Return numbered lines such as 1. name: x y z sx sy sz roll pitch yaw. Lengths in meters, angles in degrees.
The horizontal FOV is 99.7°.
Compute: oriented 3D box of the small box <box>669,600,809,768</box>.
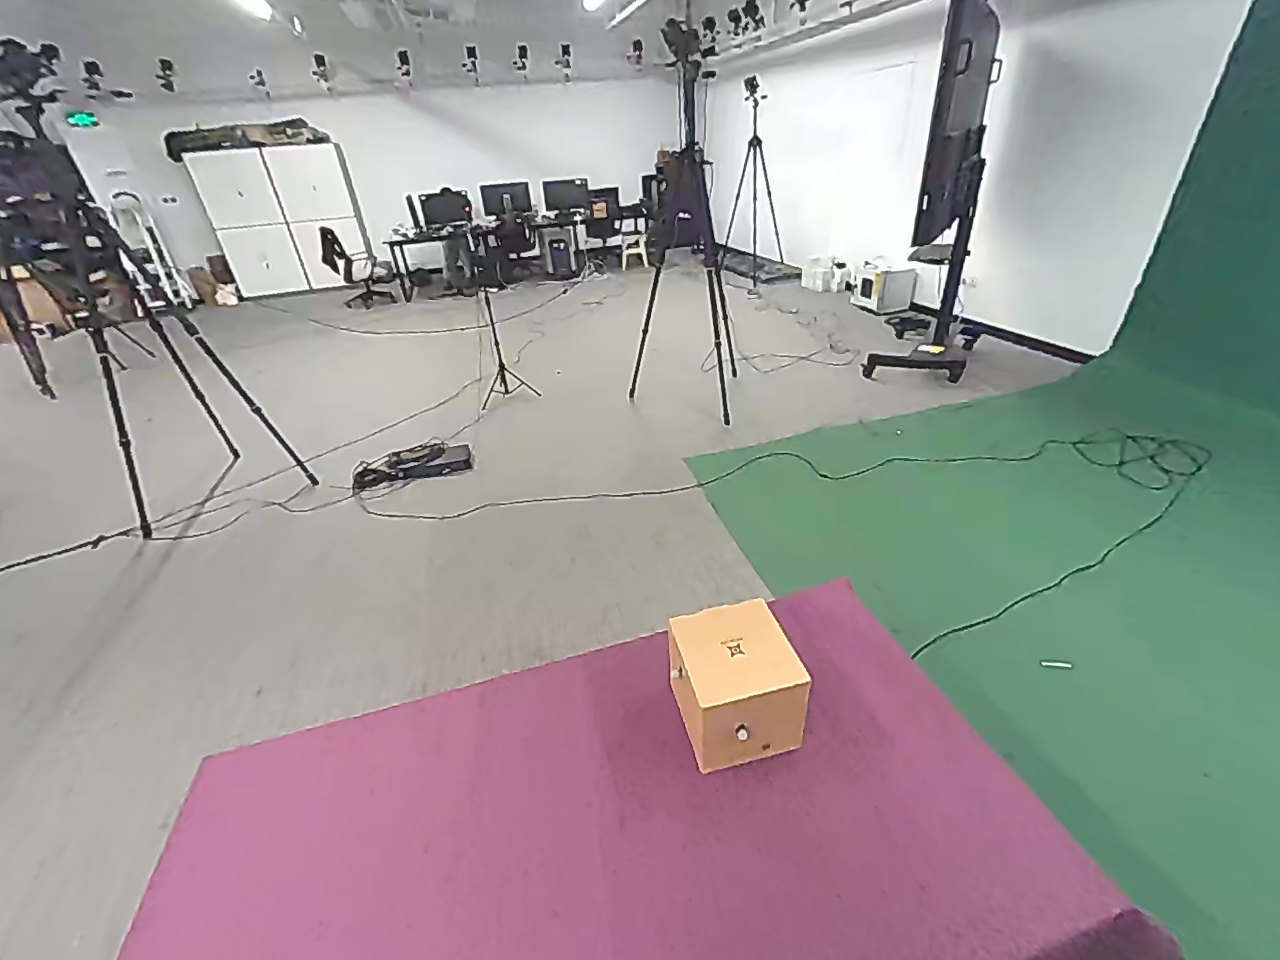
1. small box: 0.152 0.326 0.858 0.168 0.176 0.179 -11 31 -8
